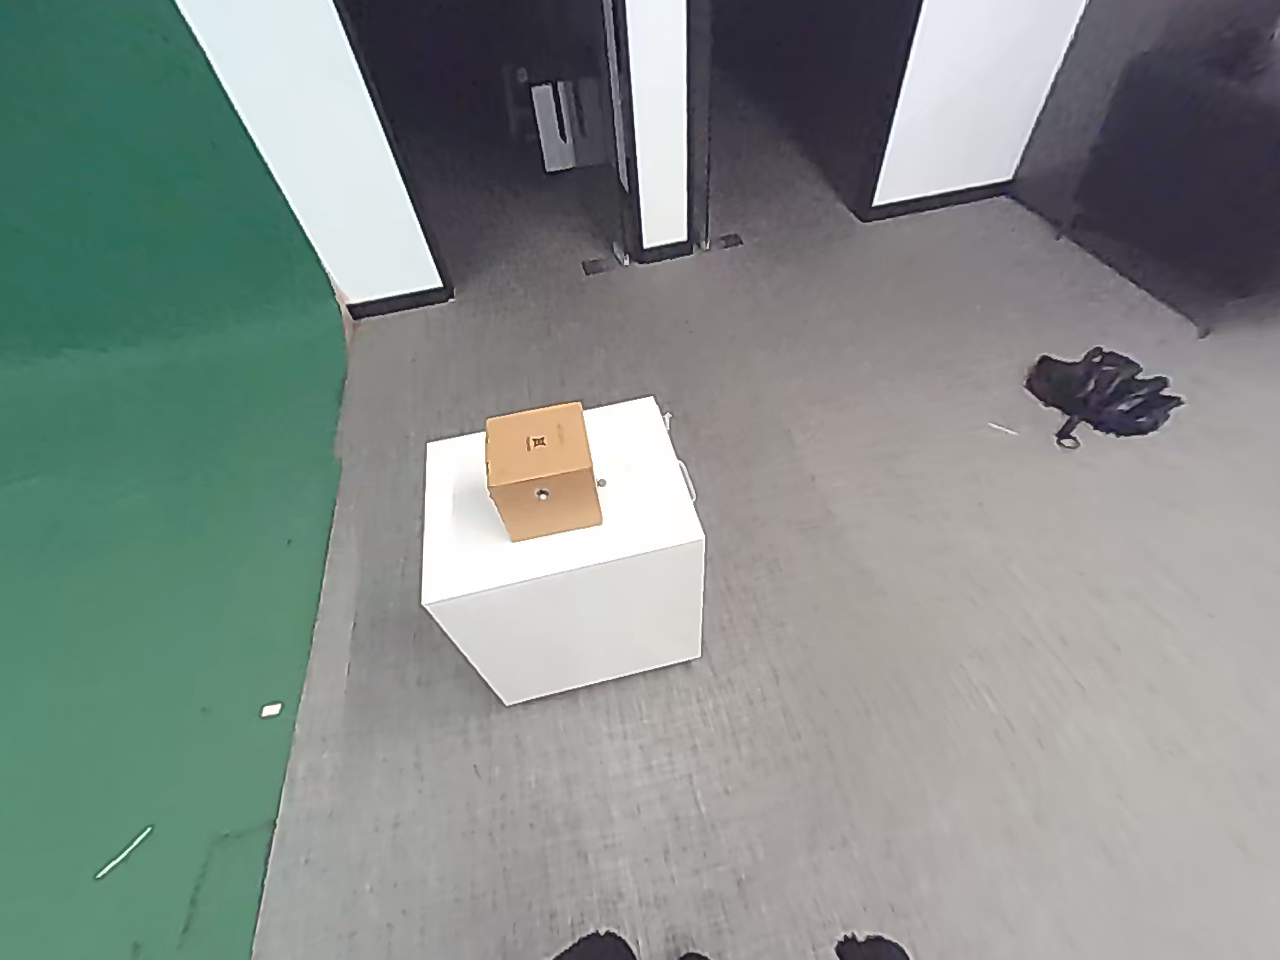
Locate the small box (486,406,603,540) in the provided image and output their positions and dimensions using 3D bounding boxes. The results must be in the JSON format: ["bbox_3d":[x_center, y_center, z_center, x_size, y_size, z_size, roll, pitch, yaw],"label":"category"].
[{"bbox_3d":[-0.173,-0.009,0.997,0.179,0.176,0.168,-11,51,-5],"label":"small box"}]
